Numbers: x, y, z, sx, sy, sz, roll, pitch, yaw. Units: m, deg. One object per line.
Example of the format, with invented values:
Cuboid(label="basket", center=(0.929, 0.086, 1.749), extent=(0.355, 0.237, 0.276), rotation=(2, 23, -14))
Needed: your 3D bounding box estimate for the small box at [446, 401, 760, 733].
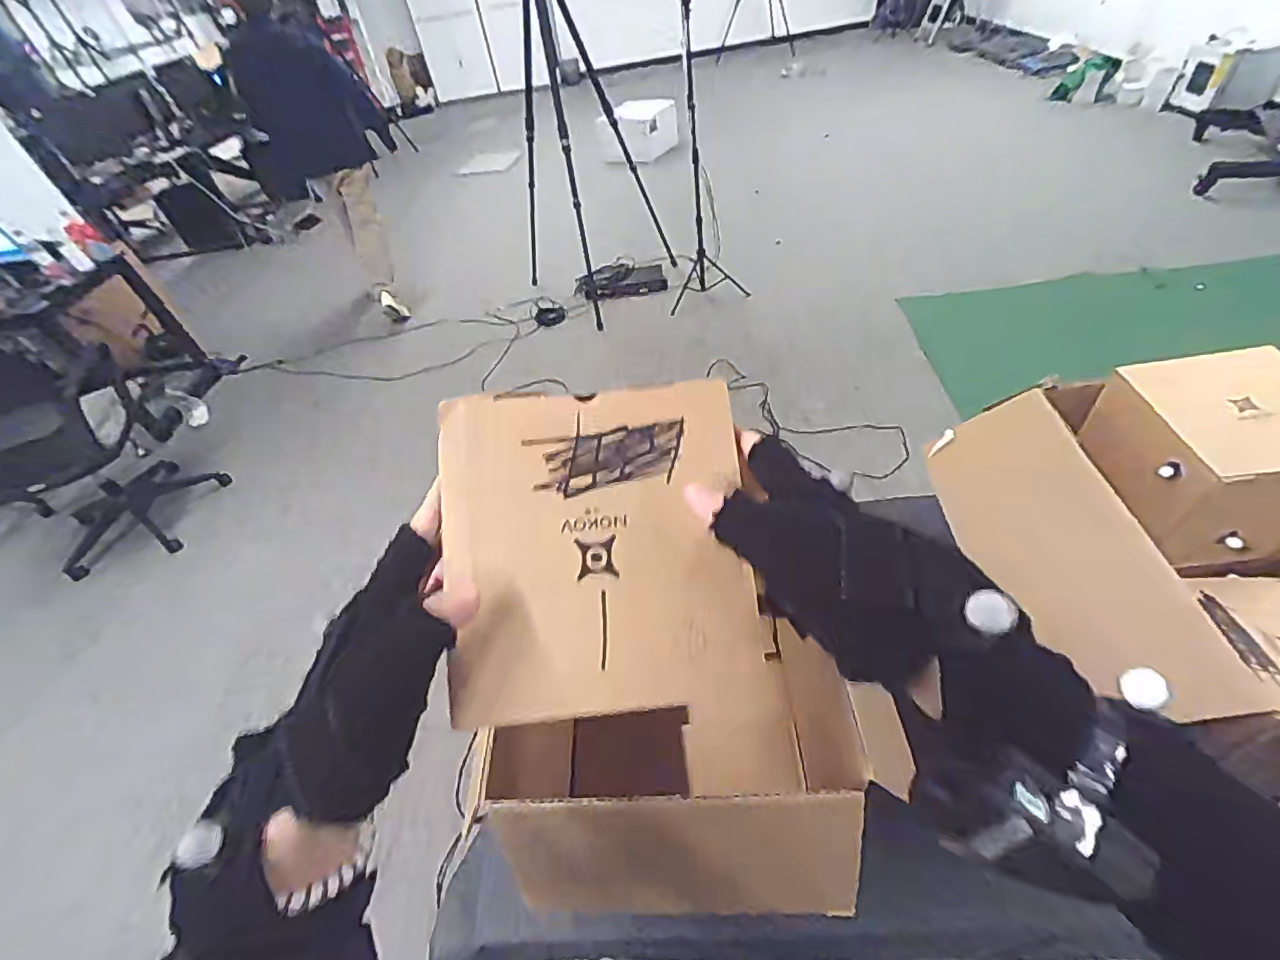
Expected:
Cuboid(label="small box", center=(-0.028, 0.058, 0.375), extent=(0.168, 0.176, 0.179), rotation=(-3, 78, -5))
